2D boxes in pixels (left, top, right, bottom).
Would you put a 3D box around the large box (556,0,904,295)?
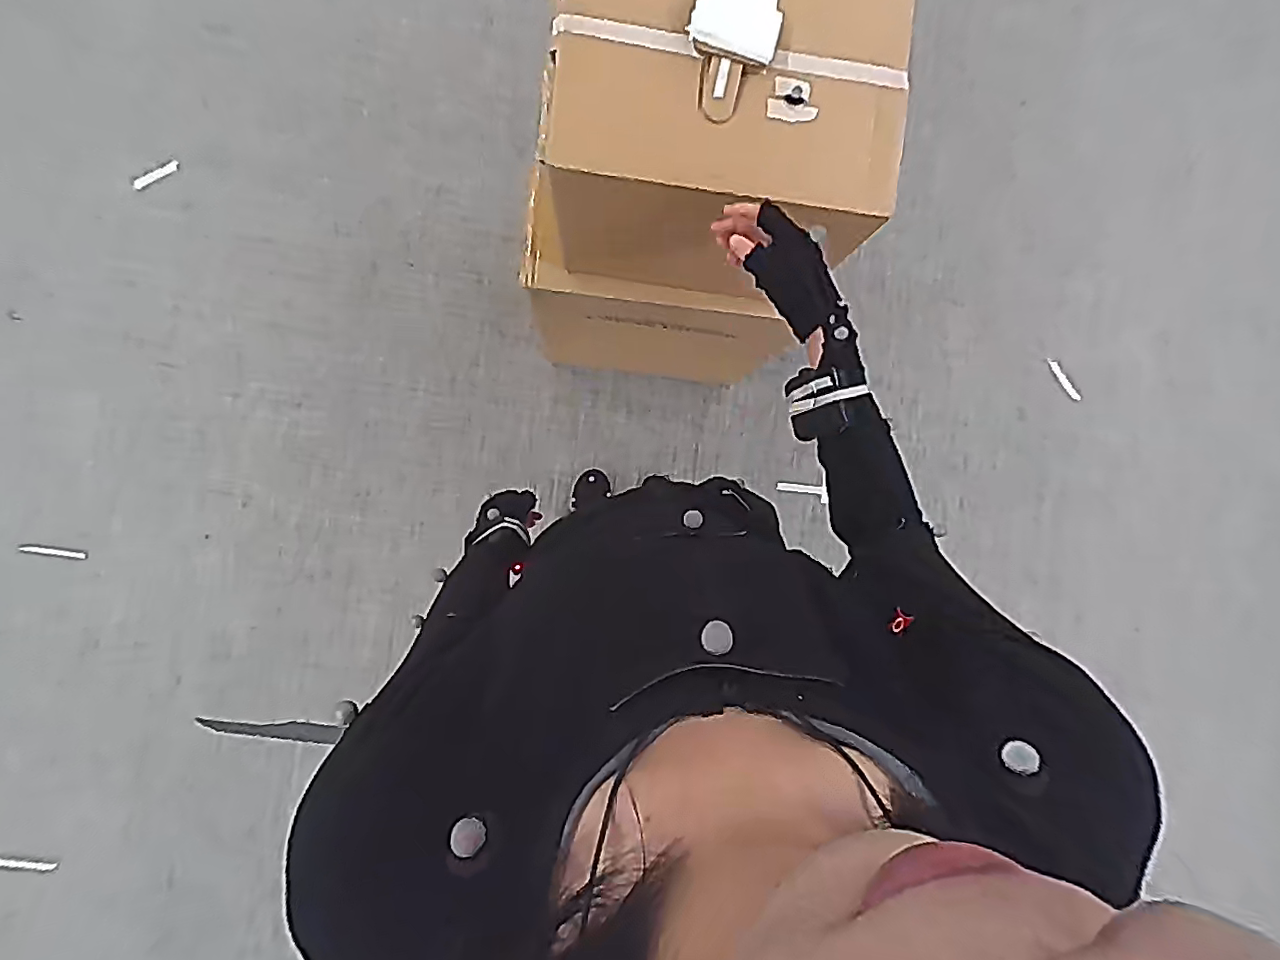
[{"bbox_3d":[0.097,-0.488,0.779,0.408,0.320,0.320,6,90,-6],"label":"large box"}]
